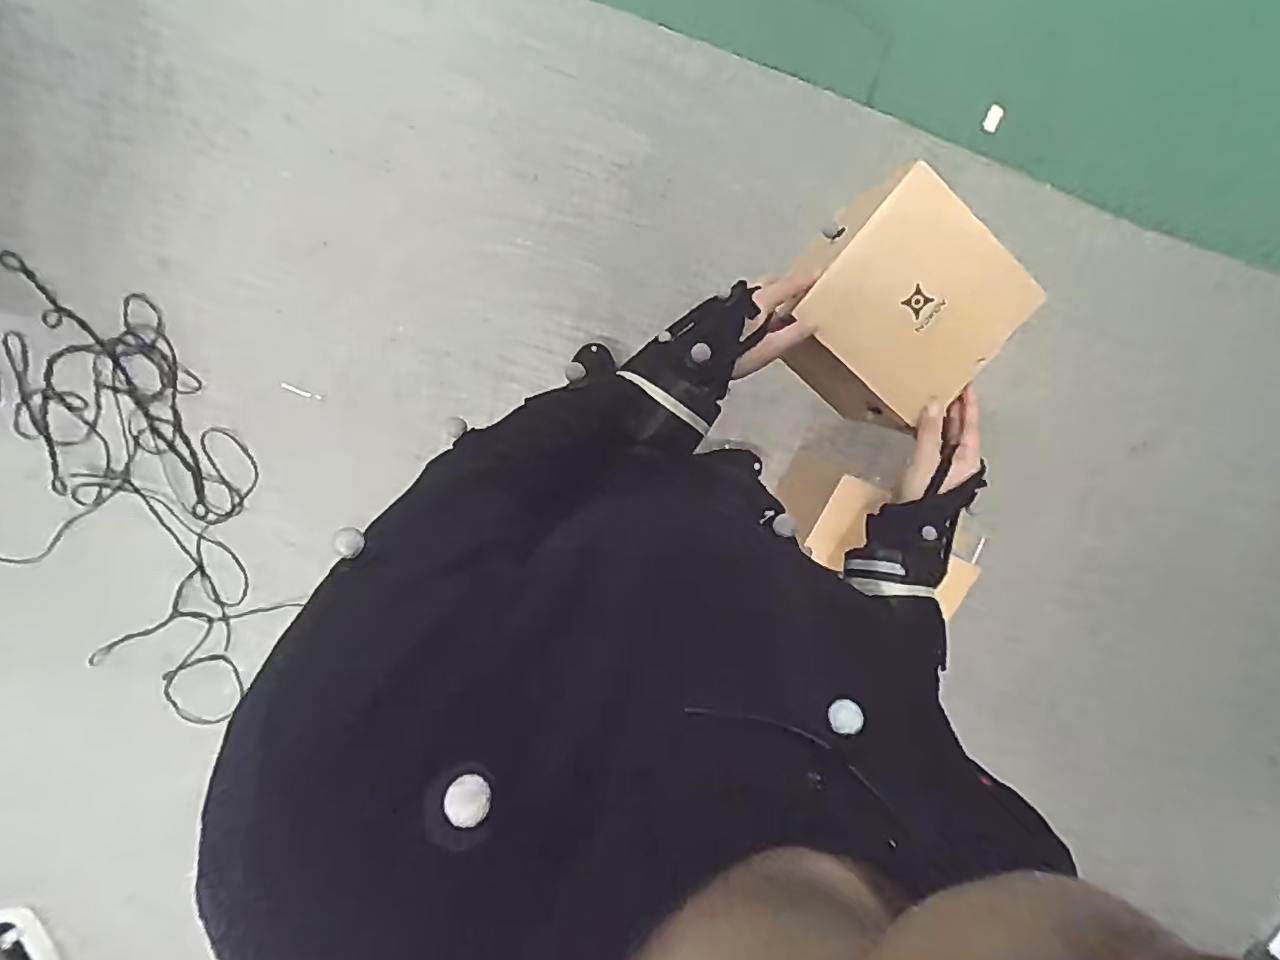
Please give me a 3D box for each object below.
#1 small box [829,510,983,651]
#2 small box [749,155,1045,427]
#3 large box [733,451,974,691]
[{"bbox_3d":[0.480,0.179,1.010,0.168,0.176,0.179,23,101,-7],"label":"small box"},{"bbox_3d":[0.239,-0.175,0.553,0.179,0.176,0.168,38,97,-11],"label":"small box"},{"bbox_3d":[0.460,0.191,1.262,0.320,0.320,0.408,24,102,-5],"label":"large box"}]
